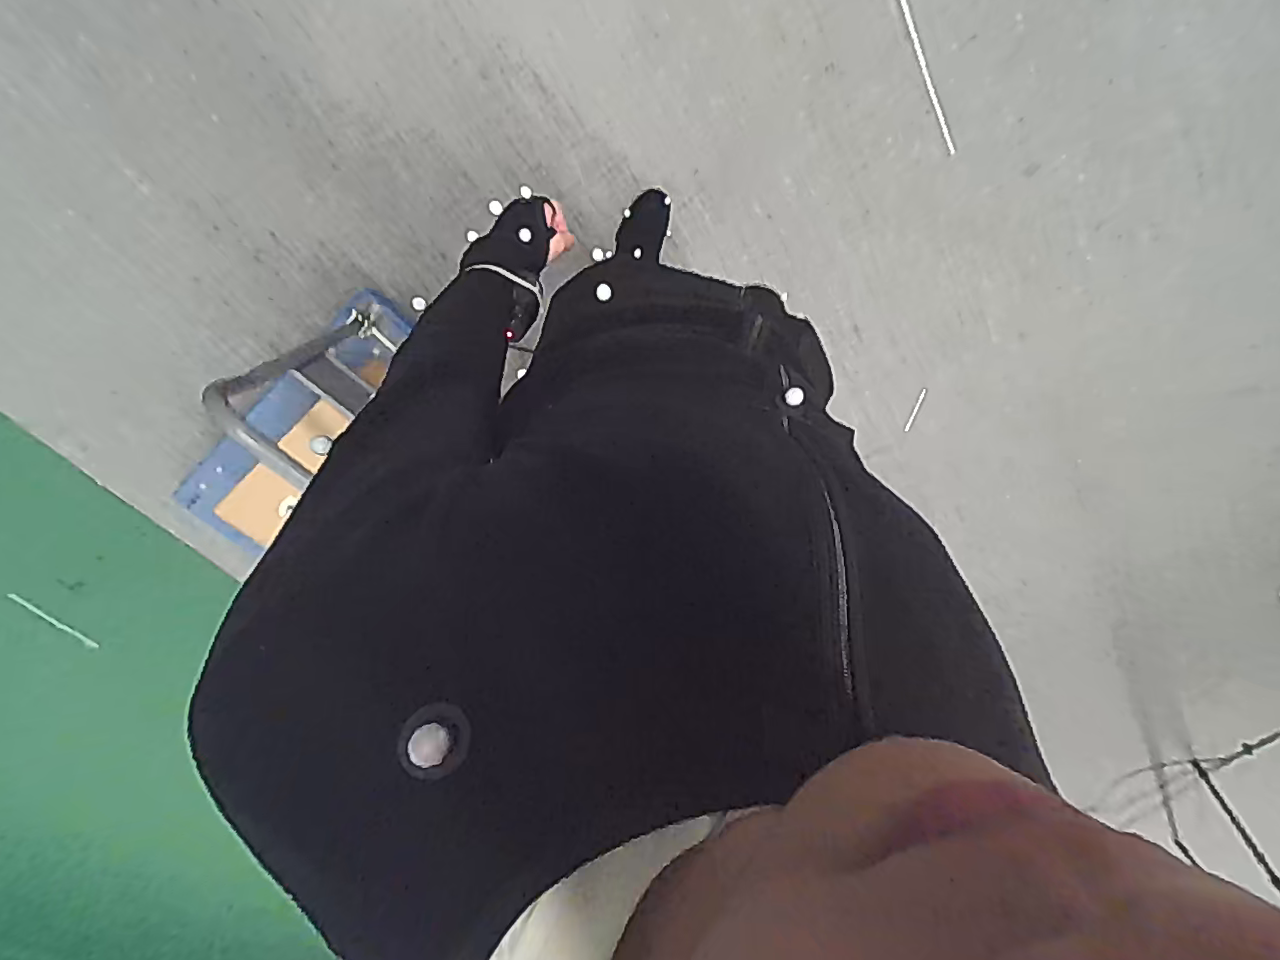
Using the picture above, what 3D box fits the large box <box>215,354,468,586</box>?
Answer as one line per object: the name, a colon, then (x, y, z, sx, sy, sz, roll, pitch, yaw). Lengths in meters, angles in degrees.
large box: (-0.692, -0.029, 1.315, 0.408, 0.320, 0.320, -36, 115, 16)
